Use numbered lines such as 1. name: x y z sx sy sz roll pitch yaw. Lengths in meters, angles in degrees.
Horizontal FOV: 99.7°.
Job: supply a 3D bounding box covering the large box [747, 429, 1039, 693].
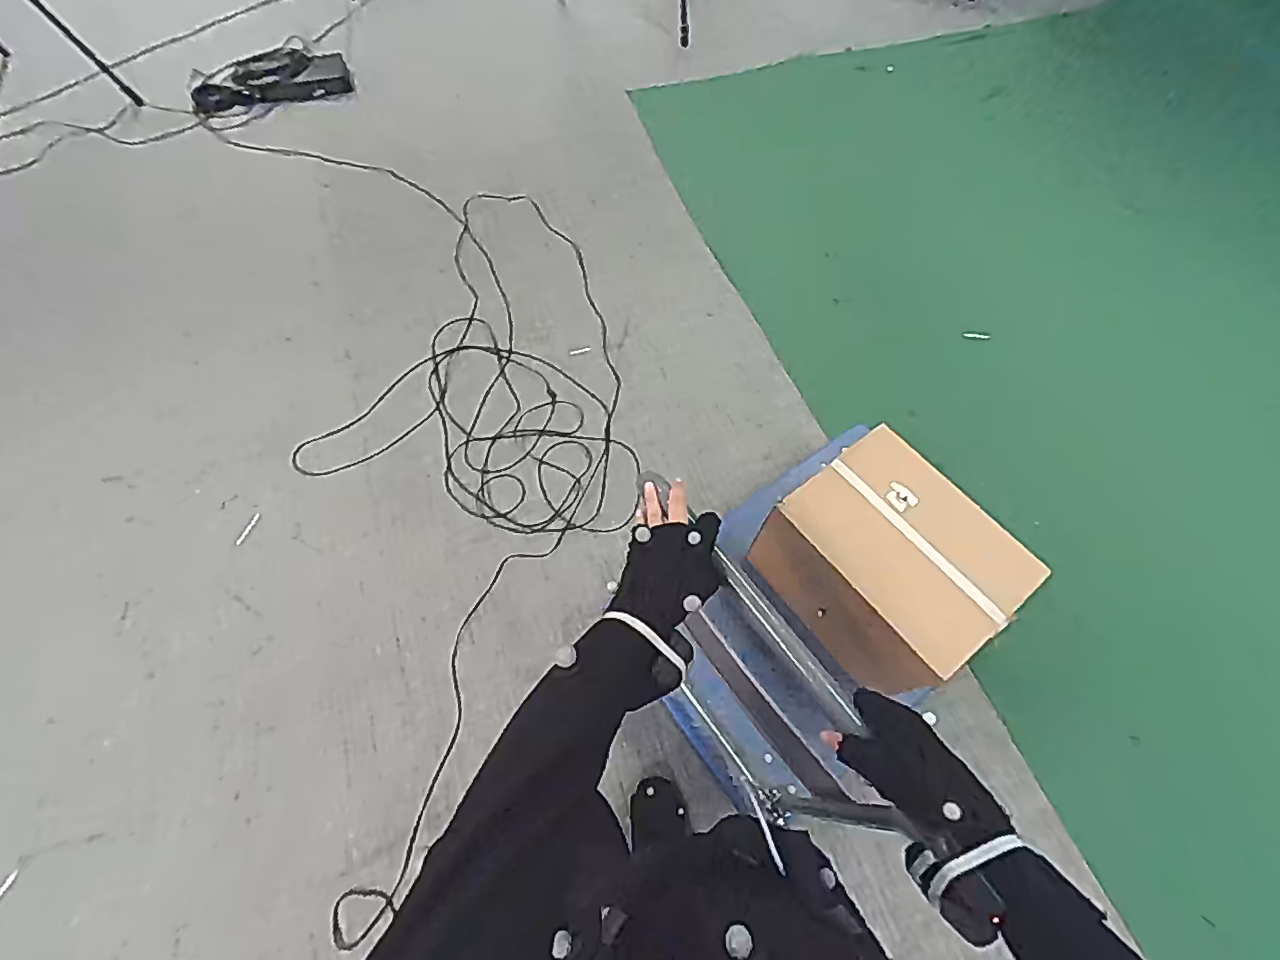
1. large box: 0.495 0.179 1.150 0.320 0.320 0.408 -34 68 -17
